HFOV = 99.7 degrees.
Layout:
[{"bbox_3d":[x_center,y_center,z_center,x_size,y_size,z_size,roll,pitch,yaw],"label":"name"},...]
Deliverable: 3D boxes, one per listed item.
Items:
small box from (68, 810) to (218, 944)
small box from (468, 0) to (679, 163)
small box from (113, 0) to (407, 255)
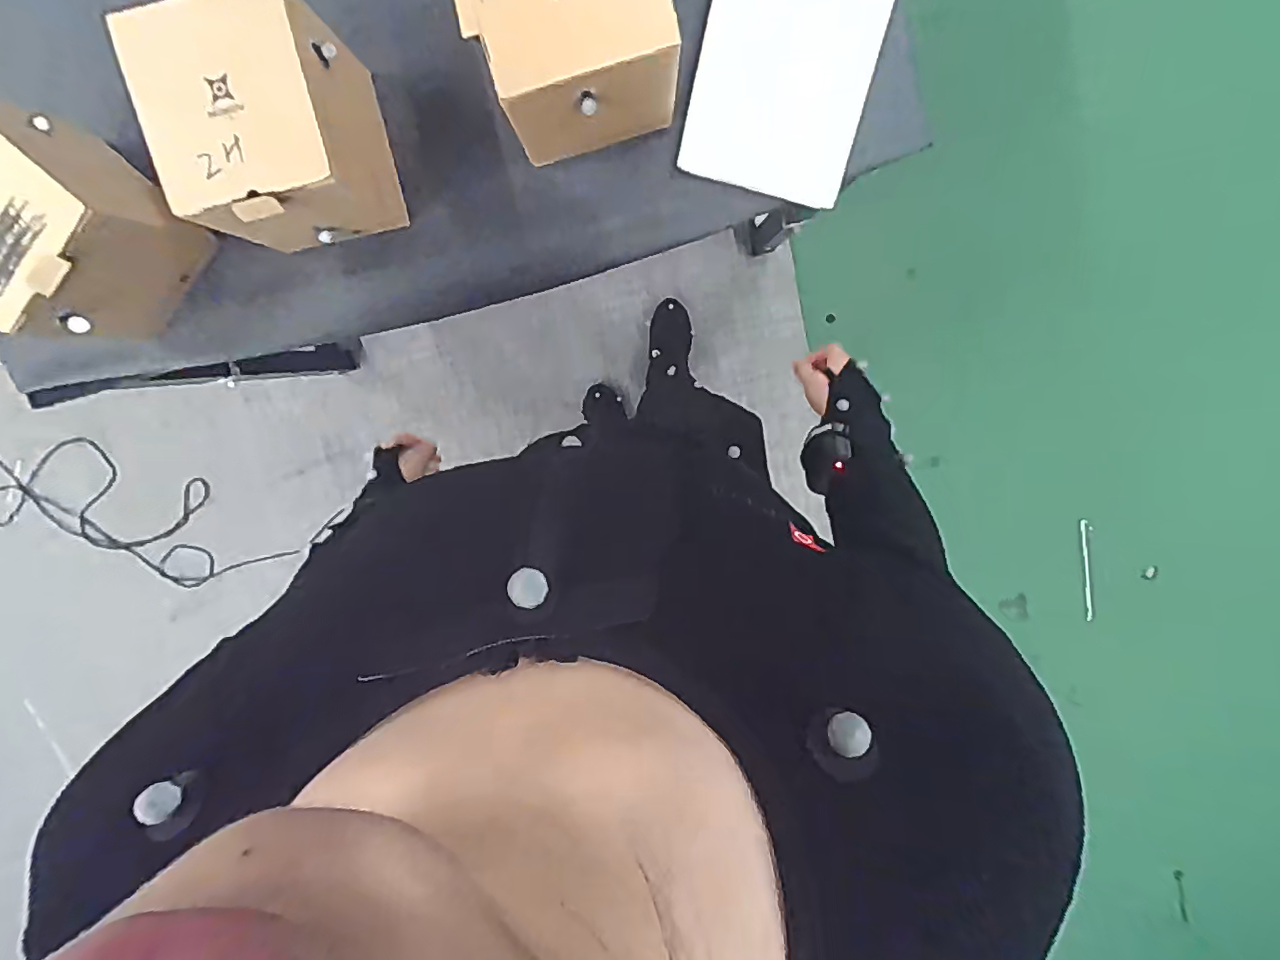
[{"bbox_3d":[-1.203,0.965,1.327,0.168,0.176,0.179,-33,100,6],"label":"small box"},{"bbox_3d":[-0.067,-0.461,0.555,0.179,0.176,0.168,-15,101,5],"label":"small box"},{"bbox_3d":[-0.383,-0.364,0.582,0.168,0.176,0.179,-11,101,4],"label":"small box"}]
